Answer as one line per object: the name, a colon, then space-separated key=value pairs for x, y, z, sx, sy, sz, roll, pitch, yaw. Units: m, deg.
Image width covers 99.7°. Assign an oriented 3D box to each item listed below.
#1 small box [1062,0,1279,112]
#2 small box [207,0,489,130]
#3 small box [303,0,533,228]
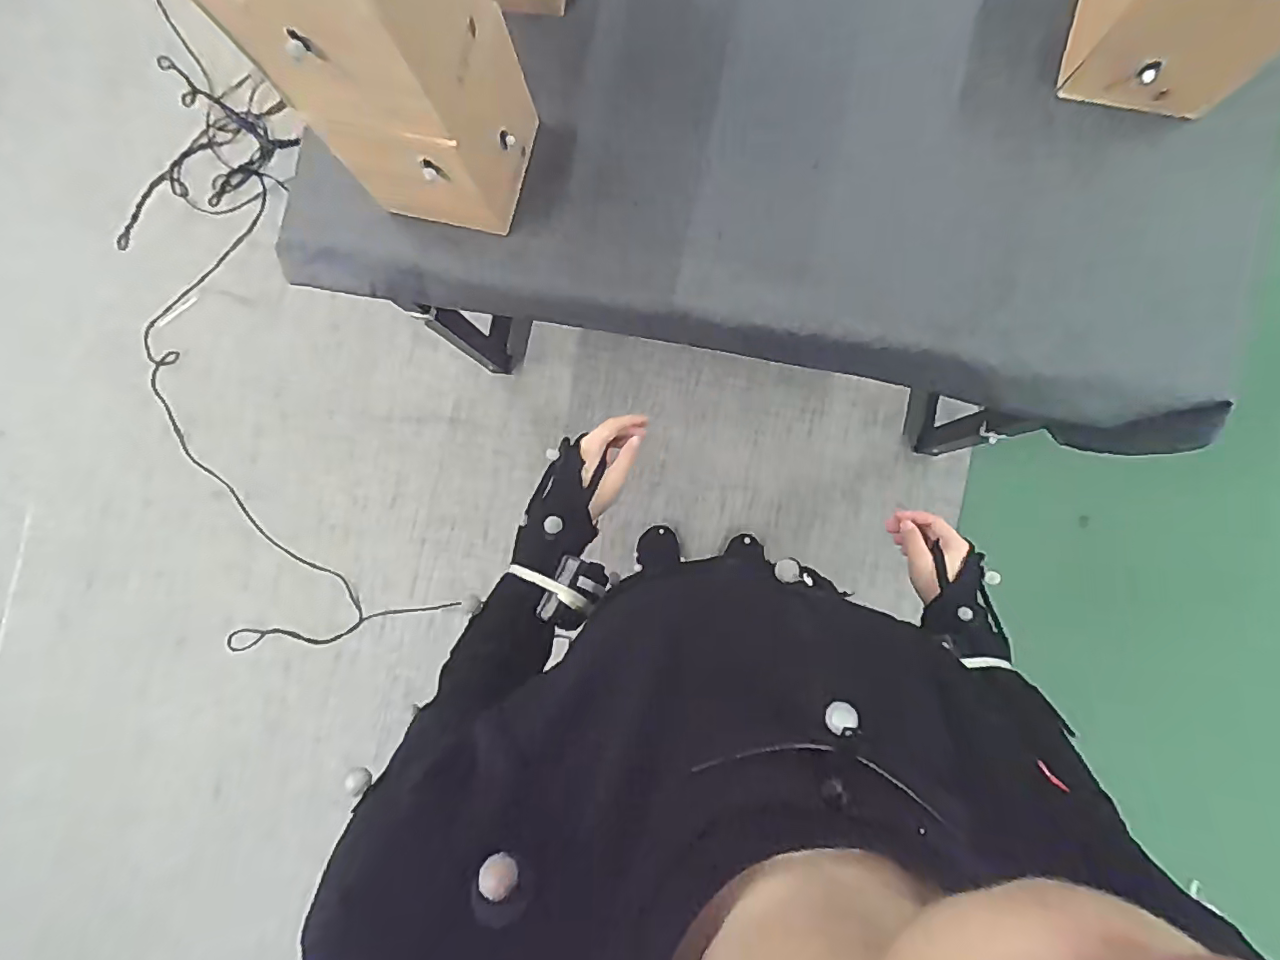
small box: x=0.597 y=-0.542 z=0.571 sx=0.168 sy=0.176 sz=0.179 roll=14 pitch=90 yaw=6
small box: x=-0.258 y=-0.446 z=0.476 sx=0.179 sy=0.176 sz=0.168 roll=10 pitch=86 yaw=6
small box: x=-0.243 y=-0.427 z=0.638 sx=0.179 sy=0.176 sz=0.168 roll=14 pitch=85 yaw=5
